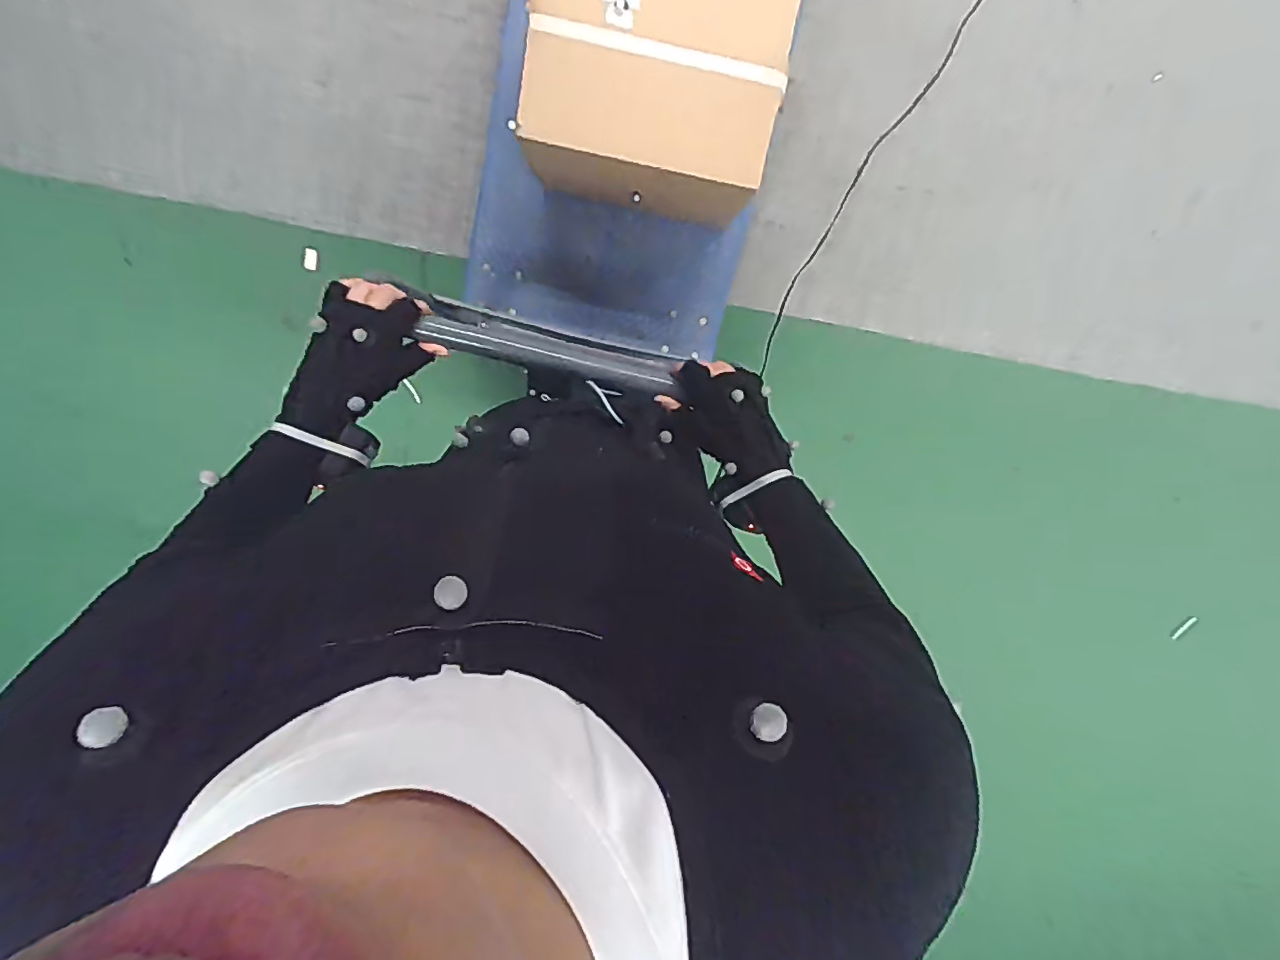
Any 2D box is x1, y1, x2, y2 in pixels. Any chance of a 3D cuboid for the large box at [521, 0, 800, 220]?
[{"bbox_3d":[0.029,-0.700,0.985,0.408,0.320,0.320,11,103,-4],"label":"large box"}]
